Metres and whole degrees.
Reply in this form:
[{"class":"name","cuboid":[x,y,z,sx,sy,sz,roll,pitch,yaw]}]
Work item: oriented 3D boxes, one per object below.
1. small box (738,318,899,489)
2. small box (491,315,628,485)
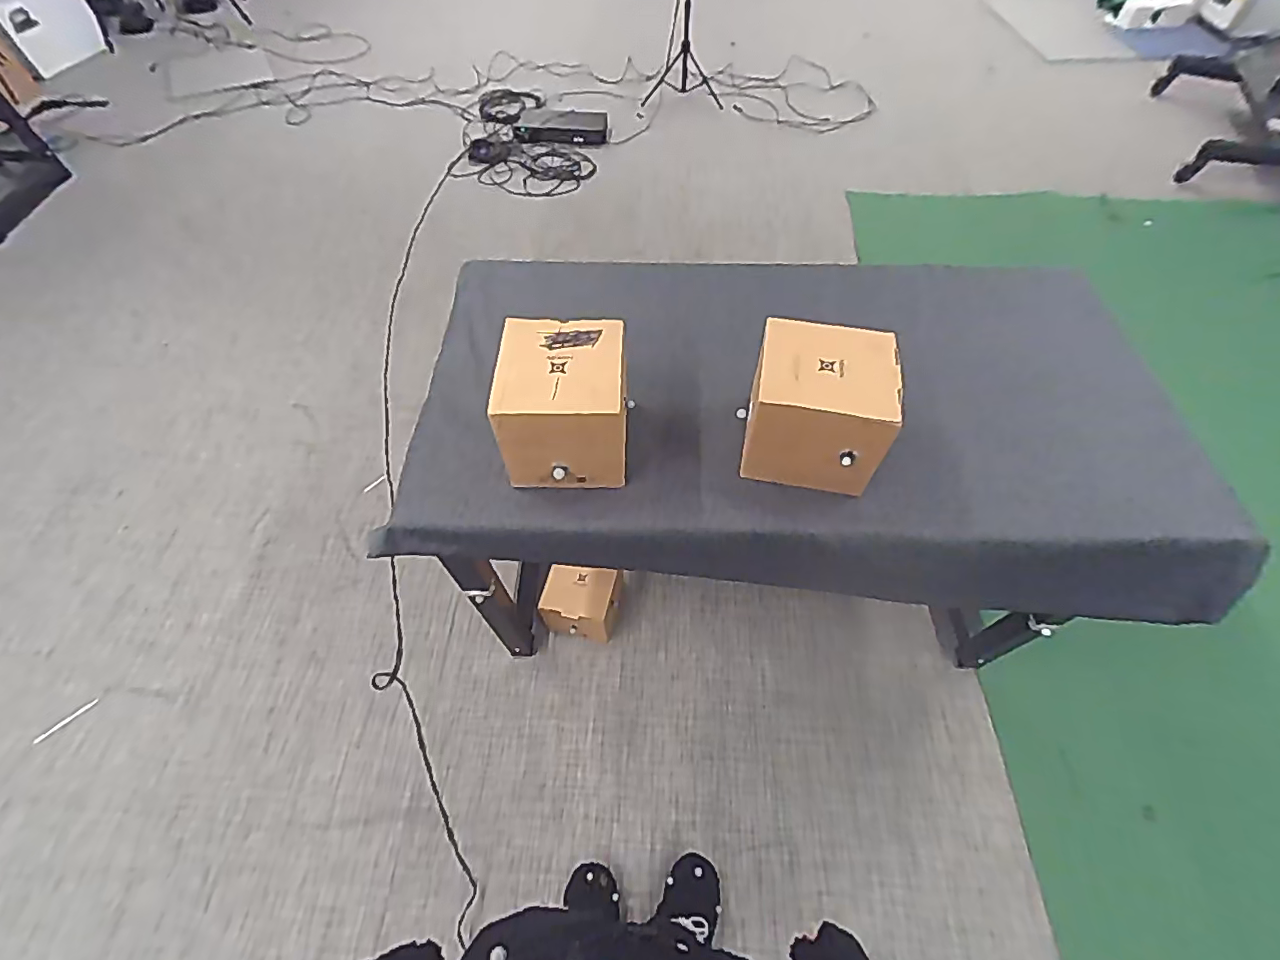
[{"class":"small box","cuboid":[0.246,-0.104,0.775,0.179,0.176,0.168,9,56,7]},{"class":"small box","cuboid":[-0.103,-0.112,0.775,0.168,0.176,0.179,0,56,0]}]
